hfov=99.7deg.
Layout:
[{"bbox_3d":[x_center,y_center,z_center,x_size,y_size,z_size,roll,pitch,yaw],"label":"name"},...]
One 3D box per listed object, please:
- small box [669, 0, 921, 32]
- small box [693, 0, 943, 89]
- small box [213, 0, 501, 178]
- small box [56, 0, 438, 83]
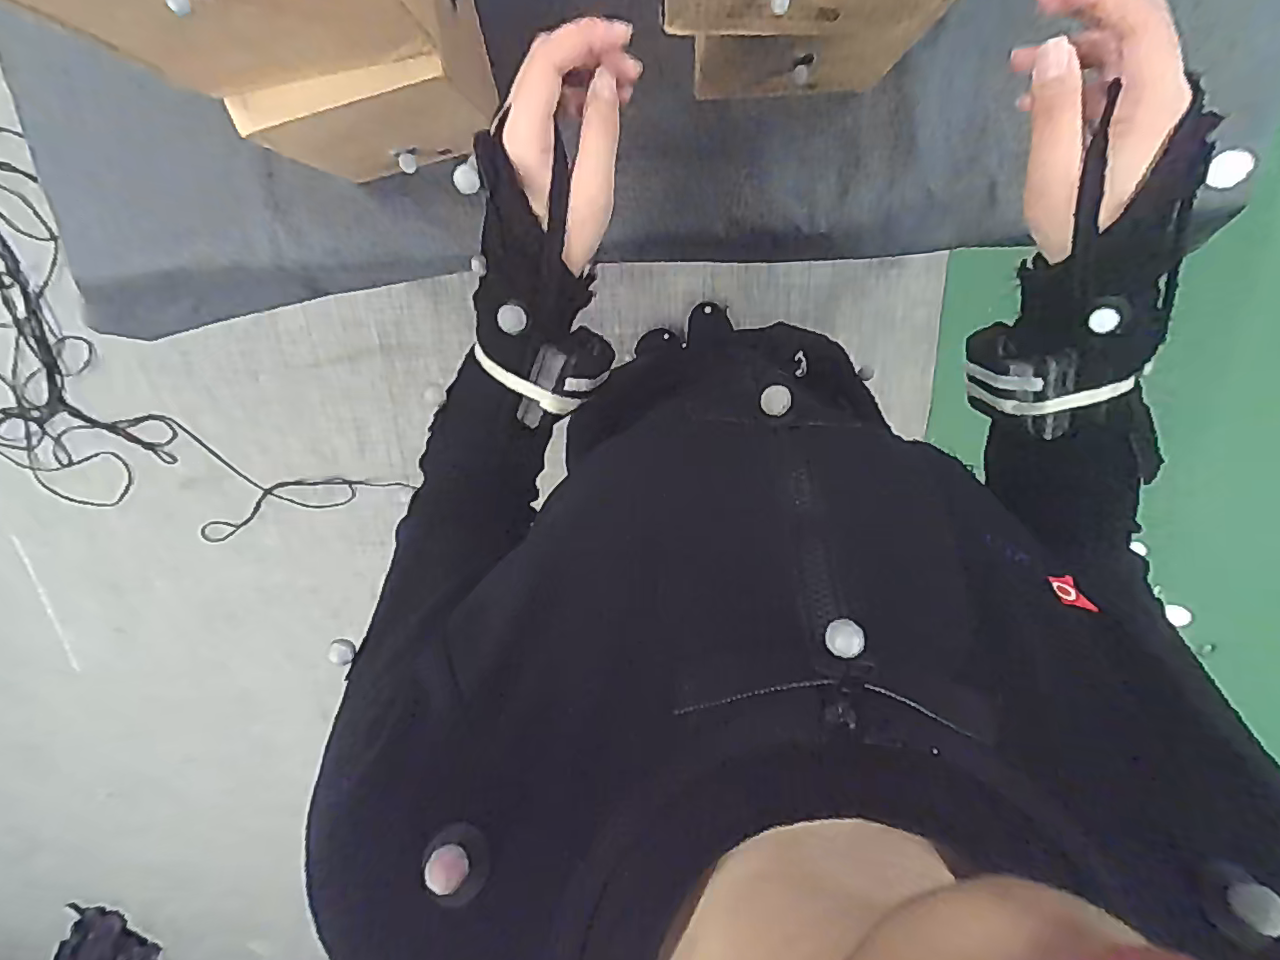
[{"bbox_3d":[0.094,-0.359,0.257,0.168,0.176,0.179,2,109,2],"label":"small box"},{"bbox_3d":[0.125,-0.422,0.408,0.168,0.176,0.179,-1,108,4],"label":"small box"},{"bbox_3d":[-0.231,-0.373,0.437,0.168,0.176,0.179,-11,108,6],"label":"small box"},{"bbox_3d":[-0.234,-0.338,0.277,0.179,0.176,0.168,-8,109,4],"label":"small box"}]
